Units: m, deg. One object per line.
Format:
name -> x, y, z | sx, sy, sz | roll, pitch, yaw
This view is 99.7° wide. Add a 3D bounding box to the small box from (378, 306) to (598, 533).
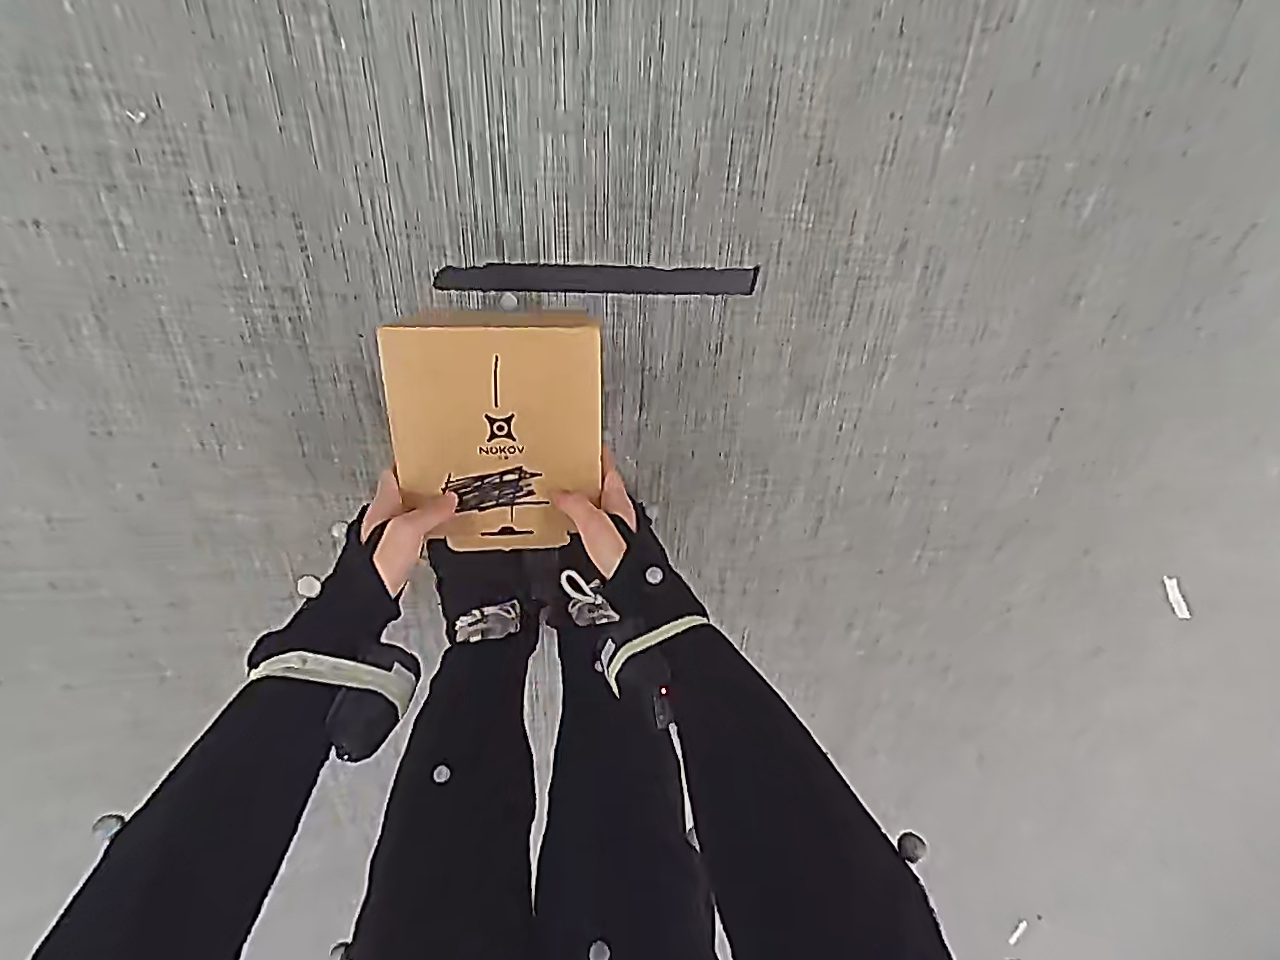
small box -> -0.126, -0.067, 0.513 | 0.168, 0.176, 0.179 | -3, 112, -8
